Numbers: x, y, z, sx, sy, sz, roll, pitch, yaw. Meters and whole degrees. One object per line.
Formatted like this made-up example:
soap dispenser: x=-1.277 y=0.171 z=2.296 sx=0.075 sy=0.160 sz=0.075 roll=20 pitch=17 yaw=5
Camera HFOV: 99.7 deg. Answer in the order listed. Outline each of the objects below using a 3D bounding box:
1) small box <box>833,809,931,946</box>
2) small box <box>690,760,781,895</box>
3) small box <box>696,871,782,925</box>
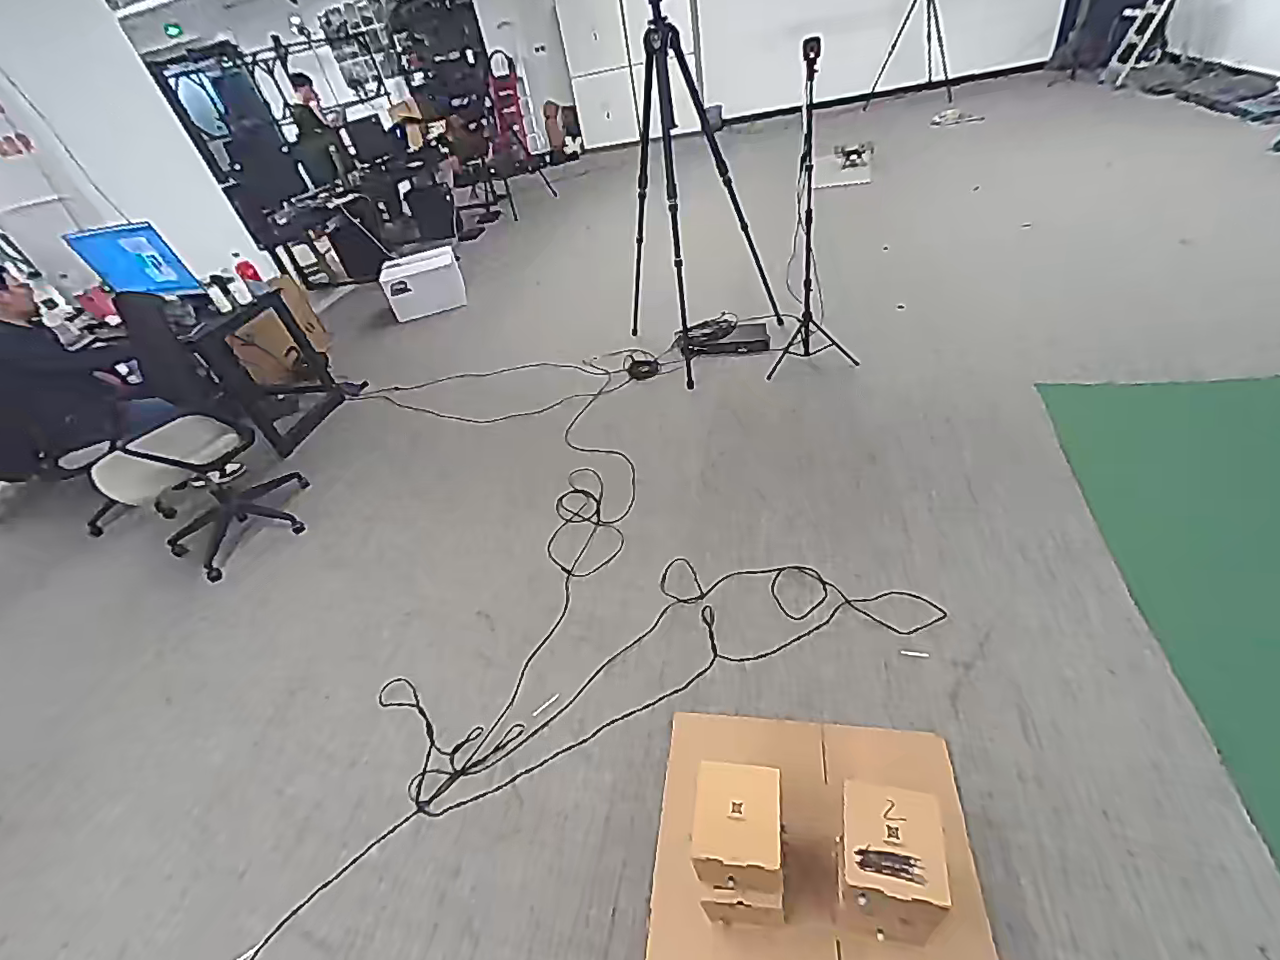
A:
small box: x=0.492 y=0.823 z=1.121 sx=0.168 sy=0.176 sz=0.179 roll=1 pitch=43 yaw=18
small box: x=0.198 y=0.699 z=1.091 sx=0.168 sy=0.176 sz=0.179 roll=-1 pitch=41 yaw=14
small box: x=0.219 y=0.839 z=1.177 sx=0.168 sy=0.176 sz=0.179 roll=-3 pitch=41 yaw=13
